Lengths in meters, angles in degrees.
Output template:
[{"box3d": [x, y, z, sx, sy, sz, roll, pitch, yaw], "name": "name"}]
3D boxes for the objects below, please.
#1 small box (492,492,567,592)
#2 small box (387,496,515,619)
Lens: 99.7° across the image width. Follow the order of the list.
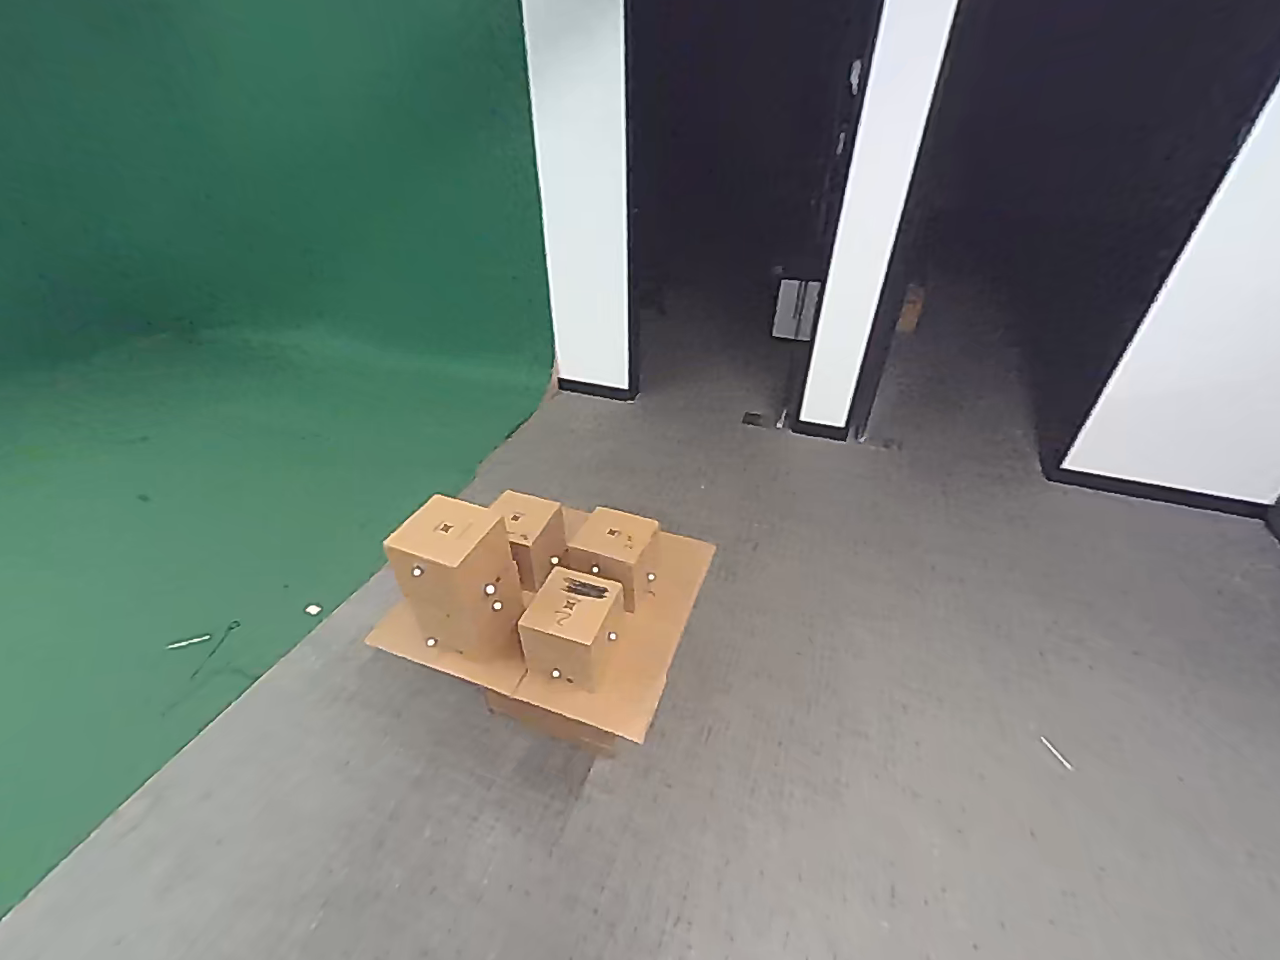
[{"box3d": [-0.300, 0.159, 1.410, 0.168, 0.176, 0.179, 10, 37, 17], "name": "small box"}, {"box3d": [-0.386, 0.163, 1.134, 0.179, 0.176, 0.168, 14, 40, 18], "name": "small box"}]
